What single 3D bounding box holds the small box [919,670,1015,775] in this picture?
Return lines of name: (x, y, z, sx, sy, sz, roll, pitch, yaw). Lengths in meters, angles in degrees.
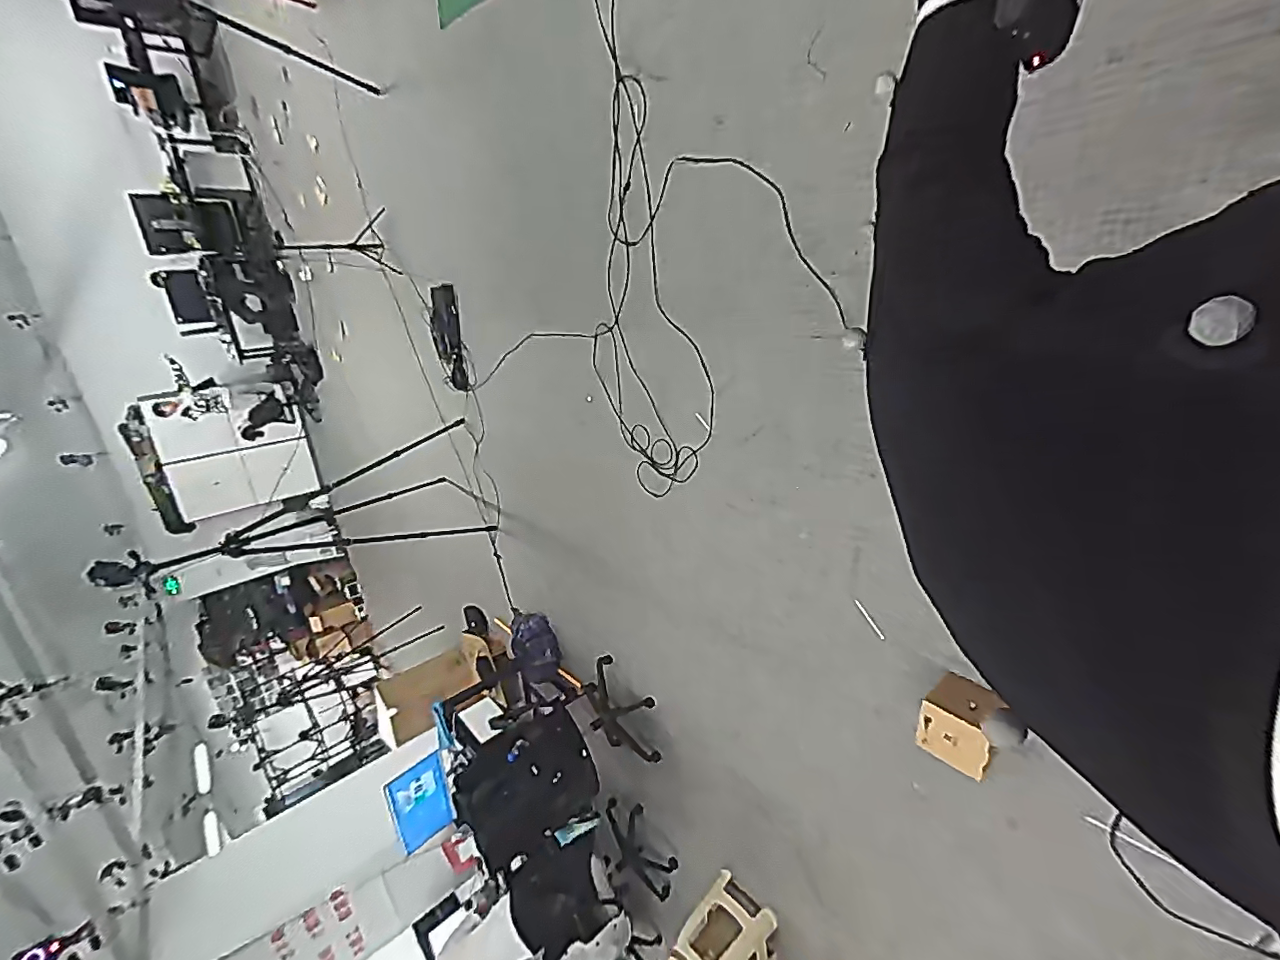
small box: (0.914, 0.665, 1.508, 0.179, 0.176, 0.168, 21, 122, 45)
